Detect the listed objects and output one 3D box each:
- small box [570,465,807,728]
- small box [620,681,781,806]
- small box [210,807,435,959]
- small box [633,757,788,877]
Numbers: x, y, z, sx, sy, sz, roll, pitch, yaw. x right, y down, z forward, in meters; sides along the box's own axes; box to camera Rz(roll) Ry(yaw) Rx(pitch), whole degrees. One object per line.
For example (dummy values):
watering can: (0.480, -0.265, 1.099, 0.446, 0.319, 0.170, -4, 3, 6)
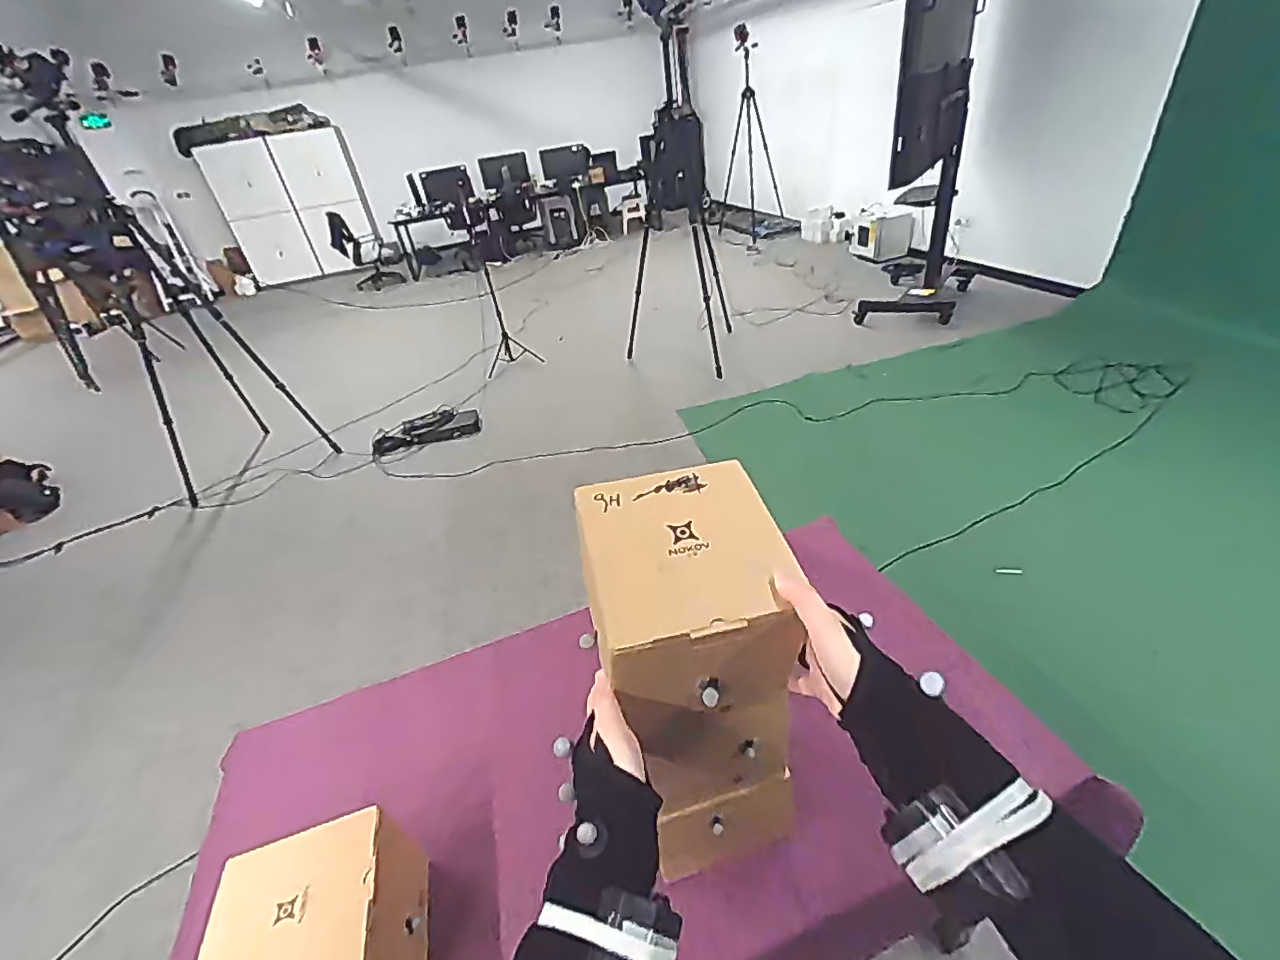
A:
small box: (0.033, 0.115, 0.514, 0.168, 0.176, 0.179, -10, 46, -9)
small box: (0.058, 0.251, 0.639, 0.168, 0.176, 0.179, -14, 34, -6)
small box: (-0.361, 0.536, 0.635, 0.179, 0.176, 0.168, -17, 34, -10)
small box: (0.086, 0.389, 0.723, 0.179, 0.176, 0.168, -15, 35, -6)
